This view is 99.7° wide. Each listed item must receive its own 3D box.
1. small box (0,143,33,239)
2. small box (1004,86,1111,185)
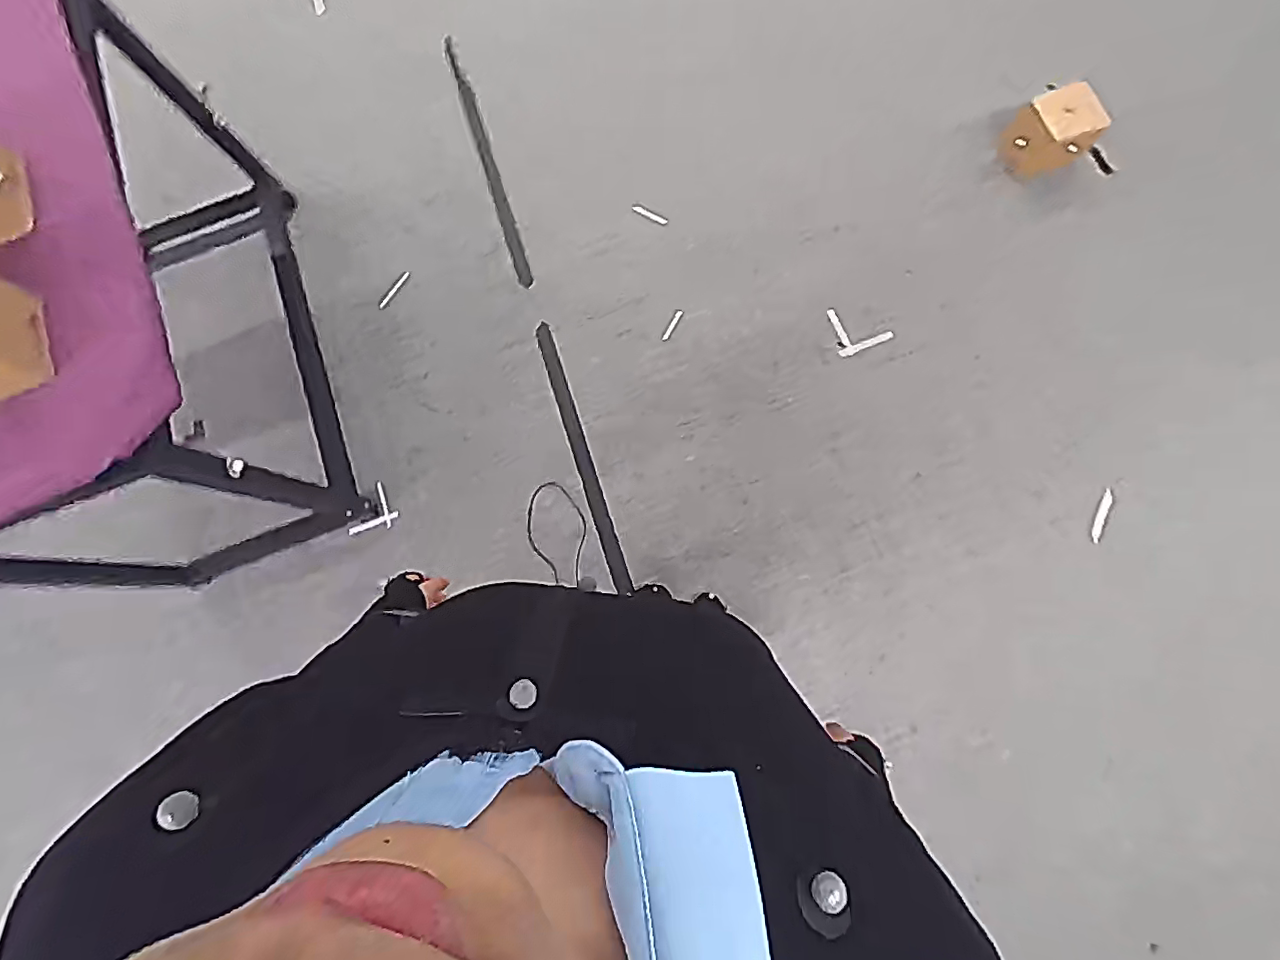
[{"bbox_3d":[-1.207,-0.516,0.914,0.179,0.176,0.168,-20,78,-2],"label":"small box"},{"bbox_3d":[1.253,-1.038,1.644,0.179,0.176,0.168,-17,78,-1],"label":"small box"}]
